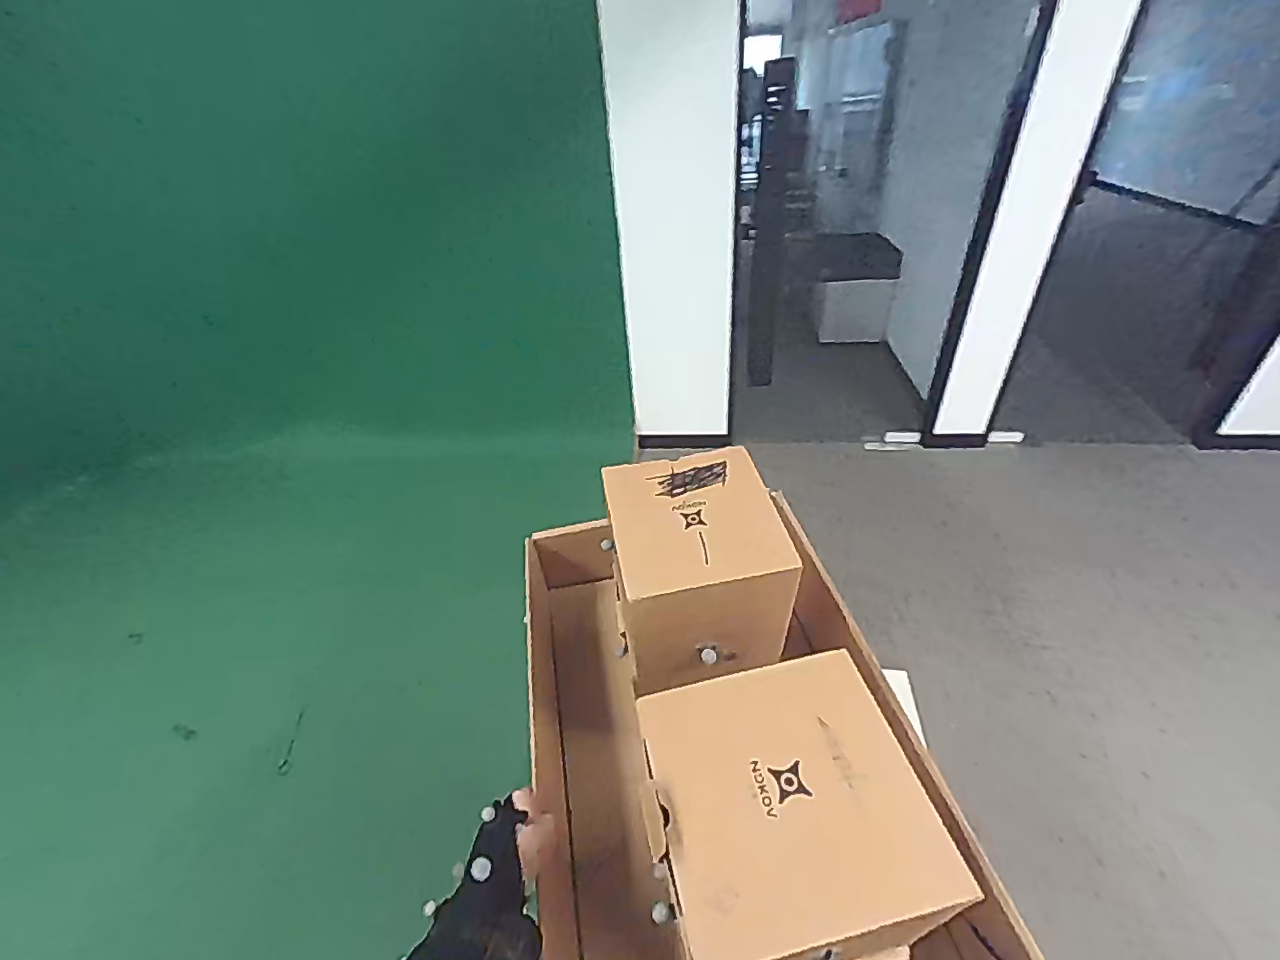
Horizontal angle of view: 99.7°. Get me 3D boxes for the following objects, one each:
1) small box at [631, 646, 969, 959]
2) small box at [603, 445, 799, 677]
[{"bbox_3d":[0.100,0.260,0.418,0.179,0.176,0.168,-11,44,-8],"label":"small box"},{"bbox_3d":[0.056,0.088,0.600,0.168,0.176,0.179,-10,46,-5],"label":"small box"}]
